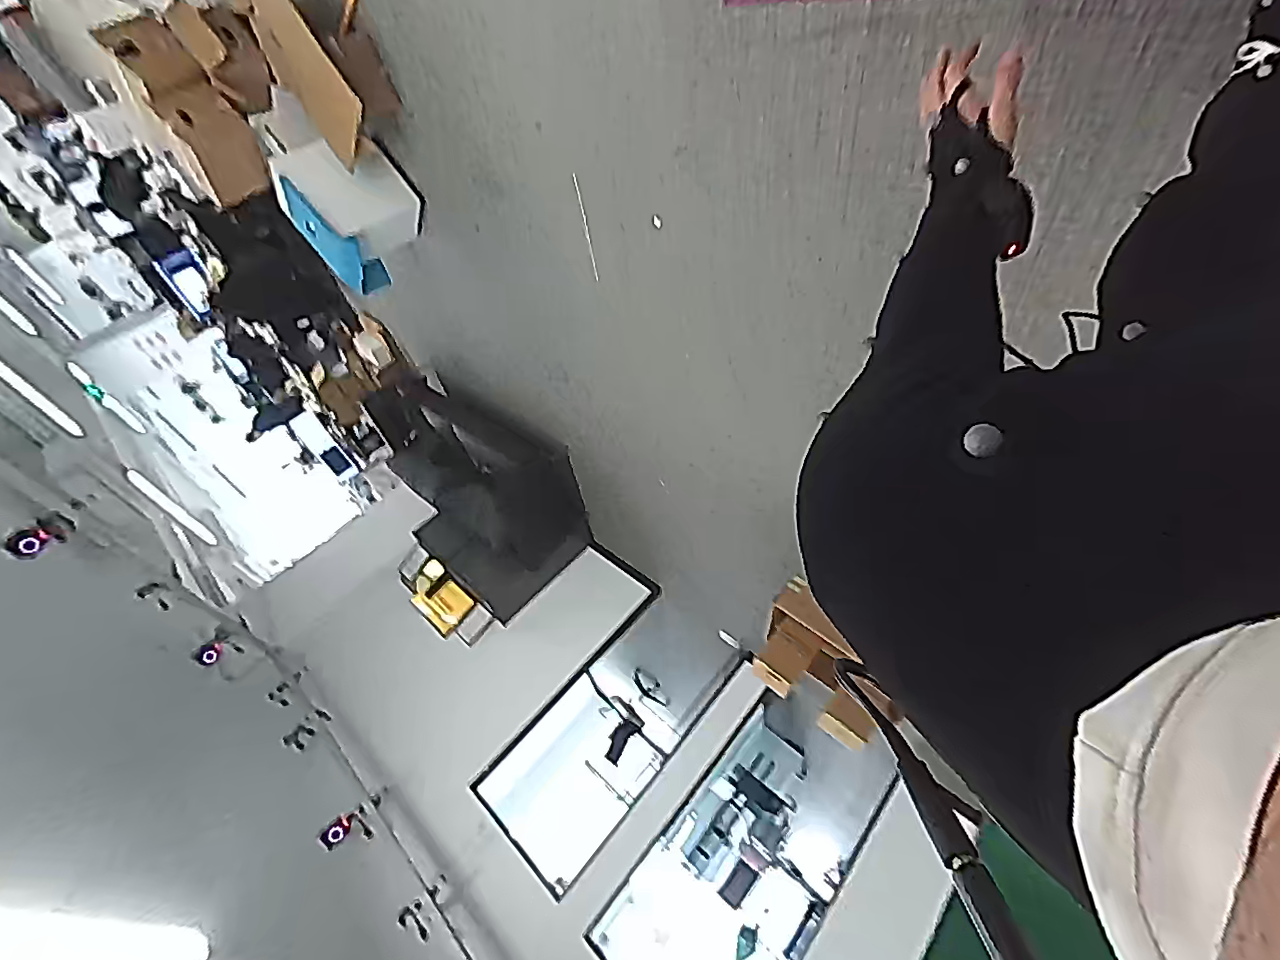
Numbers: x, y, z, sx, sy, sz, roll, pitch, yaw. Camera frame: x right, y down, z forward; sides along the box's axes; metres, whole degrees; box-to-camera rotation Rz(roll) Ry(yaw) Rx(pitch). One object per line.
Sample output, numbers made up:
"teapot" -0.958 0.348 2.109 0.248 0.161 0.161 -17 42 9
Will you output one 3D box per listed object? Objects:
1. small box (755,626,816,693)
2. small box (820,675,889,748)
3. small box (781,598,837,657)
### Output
"small box" 0.596 0.731 2.209 0.168 0.176 0.179 35 152 27
"small box" 0.818 0.882 2.064 0.168 0.176 0.179 34 152 26
"small box" 0.707 0.636 2.285 0.168 0.176 0.179 34 151 29
